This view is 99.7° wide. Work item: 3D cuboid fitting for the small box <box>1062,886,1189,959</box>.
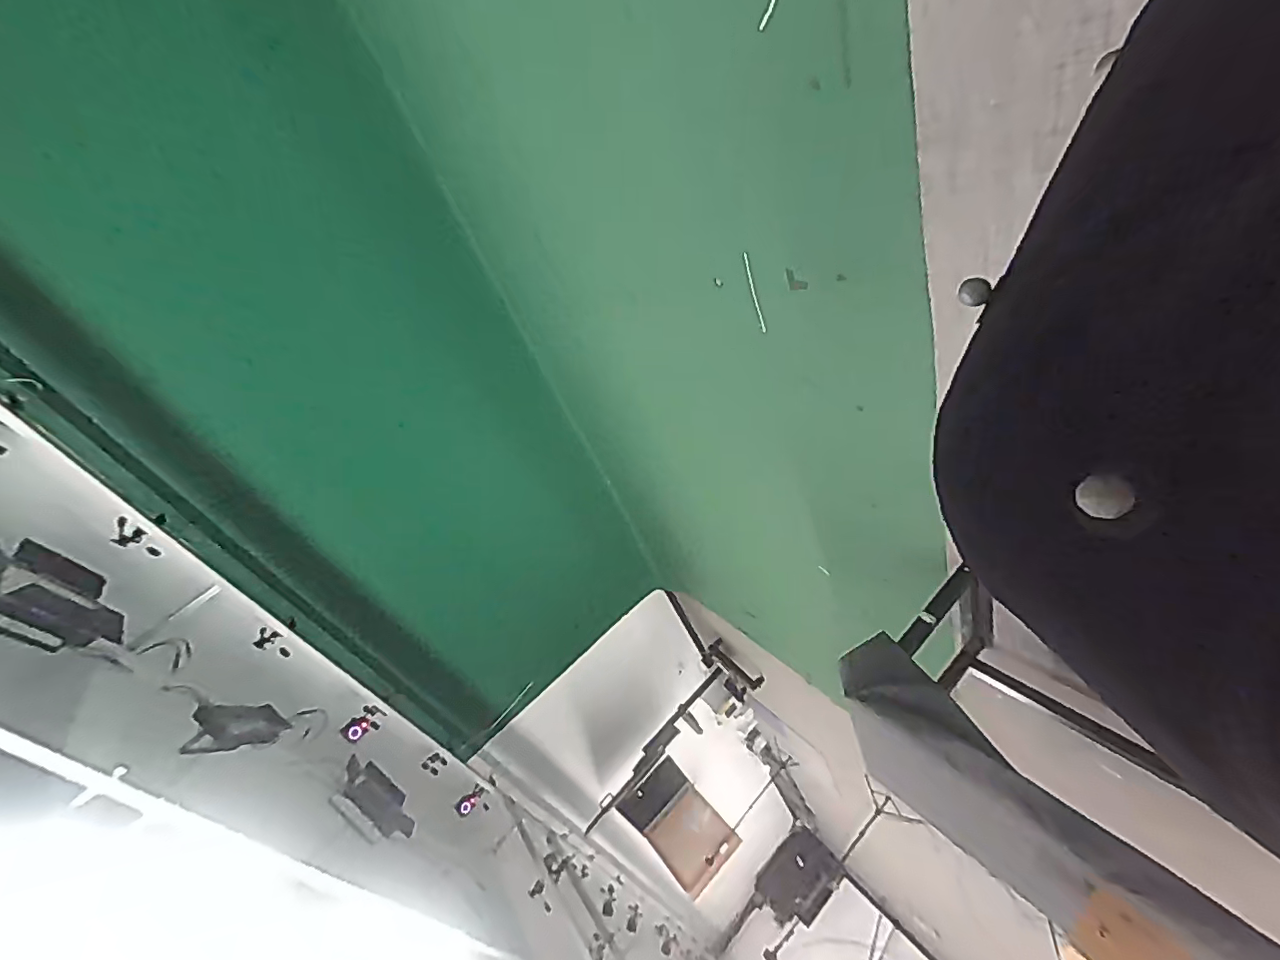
[{"bbox_3d":[1.119,1.091,1.251,0.168,0.176,0.179,30,155,49],"label":"small box"}]
